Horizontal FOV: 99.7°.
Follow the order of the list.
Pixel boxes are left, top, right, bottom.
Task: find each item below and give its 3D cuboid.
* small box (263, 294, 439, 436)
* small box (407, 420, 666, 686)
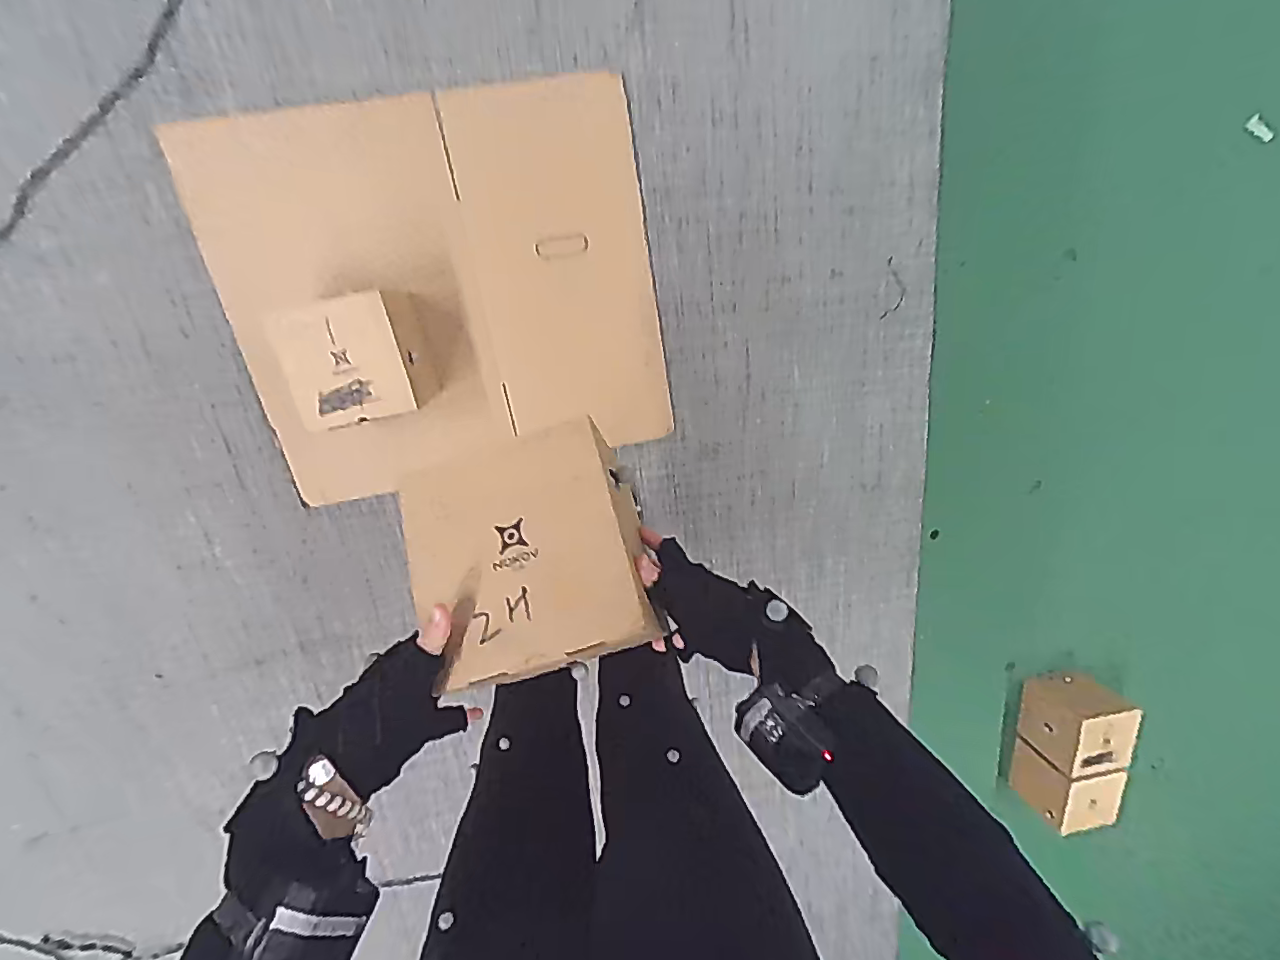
[{"bbox_3d":[-0.431,-0.186,0.843,0.168,0.176,0.179,-13,109,-5],"label":"small box"},{"bbox_3d":[-0.082,0.074,0.491,0.168,0.176,0.179,-18,71,4],"label":"small box"}]
